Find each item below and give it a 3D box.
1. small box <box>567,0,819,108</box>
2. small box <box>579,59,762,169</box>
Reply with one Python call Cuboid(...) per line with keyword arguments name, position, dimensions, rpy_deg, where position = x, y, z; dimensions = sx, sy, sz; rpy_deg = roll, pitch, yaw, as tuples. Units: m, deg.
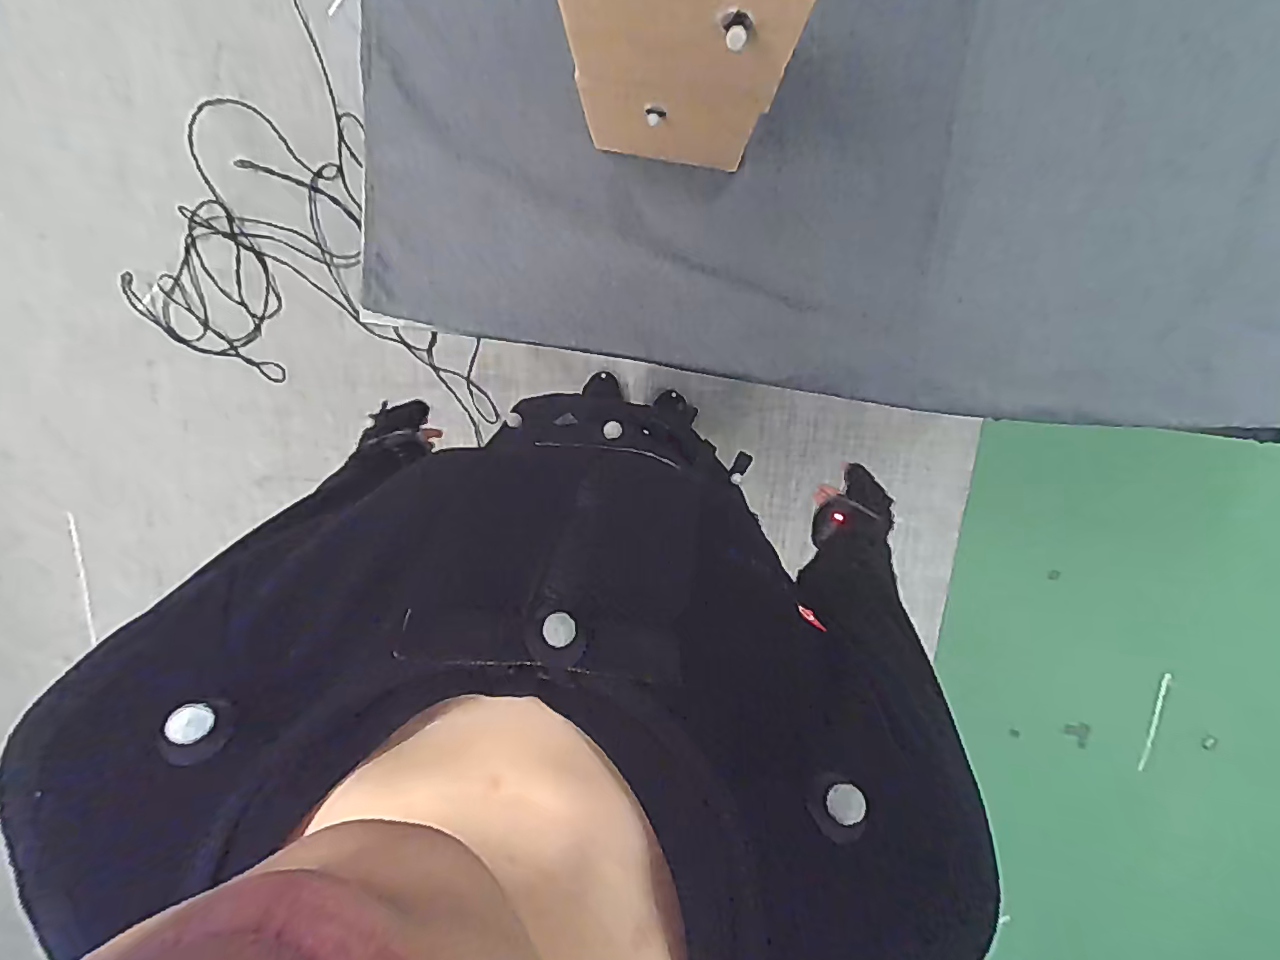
Cuboid(name="small box", position=(0.044, -0.416, 0.409), dimensions=(0.179, 0.176, 0.168), rpy_deg=(8, 101, 0))
Cuboid(name="small box", position=(0.042, -0.454, 0.570), dimensions=(0.179, 0.176, 0.168), rpy_deg=(9, 101, -1))
